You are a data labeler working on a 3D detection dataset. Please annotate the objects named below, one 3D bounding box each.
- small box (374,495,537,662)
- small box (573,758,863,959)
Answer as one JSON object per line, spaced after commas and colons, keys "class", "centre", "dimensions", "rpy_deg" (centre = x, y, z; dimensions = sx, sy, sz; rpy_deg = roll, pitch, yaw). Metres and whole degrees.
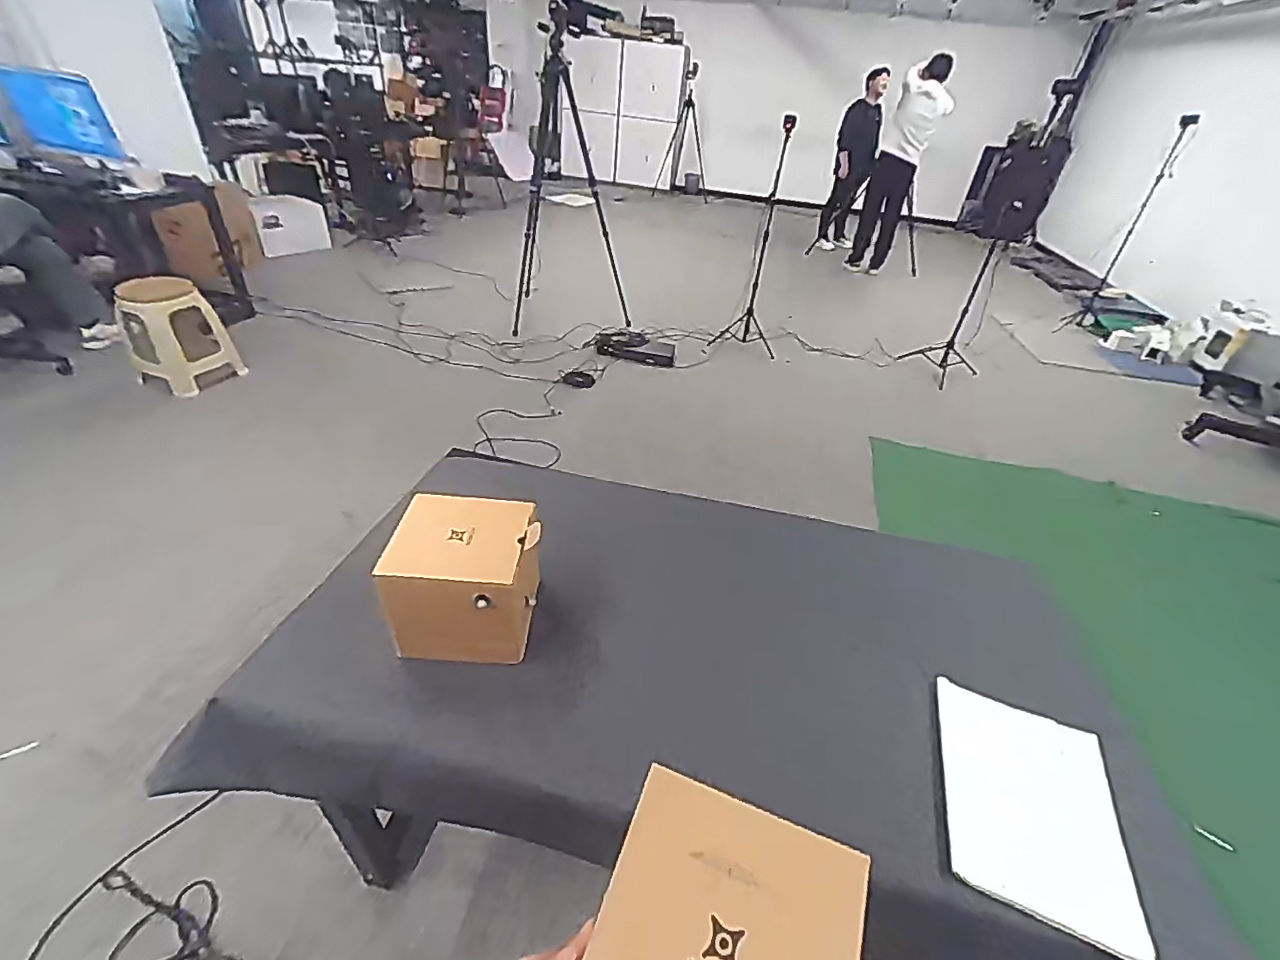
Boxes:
{"class": "small box", "centre": [-0.247, 0.141, 0.774], "dimensions": [0.179, 0.176, 0.168], "rpy_deg": [5, 35, -3]}
{"class": "small box", "centre": [0.050, 0.350, 0.406], "dimensions": [0.168, 0.176, 0.179], "rpy_deg": [17, 50, 14]}
